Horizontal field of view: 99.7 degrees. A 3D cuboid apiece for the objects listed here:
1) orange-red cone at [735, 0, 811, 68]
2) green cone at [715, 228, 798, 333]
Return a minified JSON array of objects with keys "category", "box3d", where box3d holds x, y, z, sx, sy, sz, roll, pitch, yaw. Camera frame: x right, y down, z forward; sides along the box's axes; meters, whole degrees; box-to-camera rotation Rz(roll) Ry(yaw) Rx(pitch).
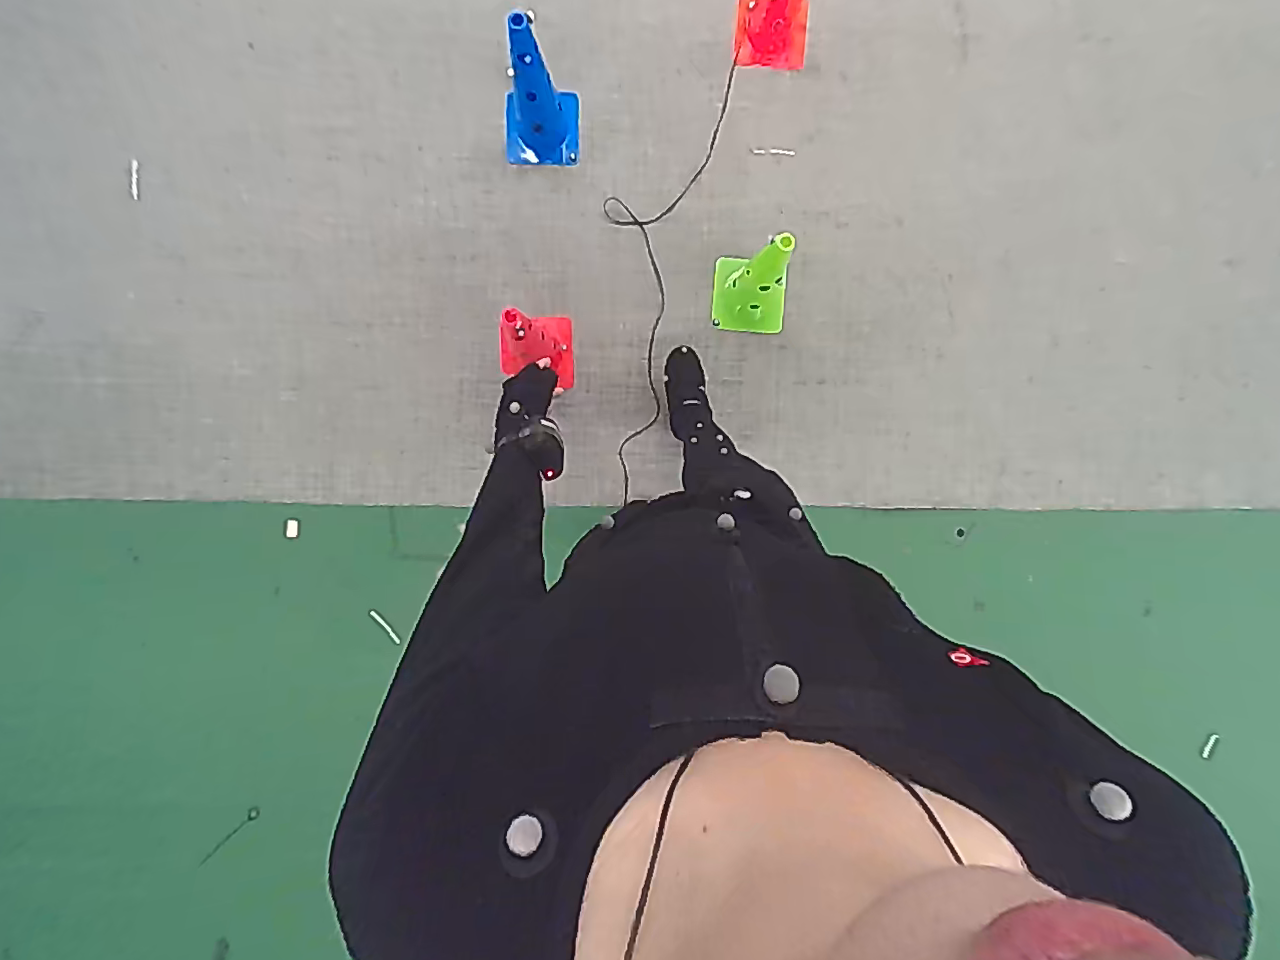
[{"category":"orange-red cone","box3d":[0.368,-1.242,1.325,0.198,0.360,0.199,5,92,0]},{"category":"green cone","box3d":[0.316,-0.512,1.328,0.200,0.368,0.202,3,89,-2]}]
